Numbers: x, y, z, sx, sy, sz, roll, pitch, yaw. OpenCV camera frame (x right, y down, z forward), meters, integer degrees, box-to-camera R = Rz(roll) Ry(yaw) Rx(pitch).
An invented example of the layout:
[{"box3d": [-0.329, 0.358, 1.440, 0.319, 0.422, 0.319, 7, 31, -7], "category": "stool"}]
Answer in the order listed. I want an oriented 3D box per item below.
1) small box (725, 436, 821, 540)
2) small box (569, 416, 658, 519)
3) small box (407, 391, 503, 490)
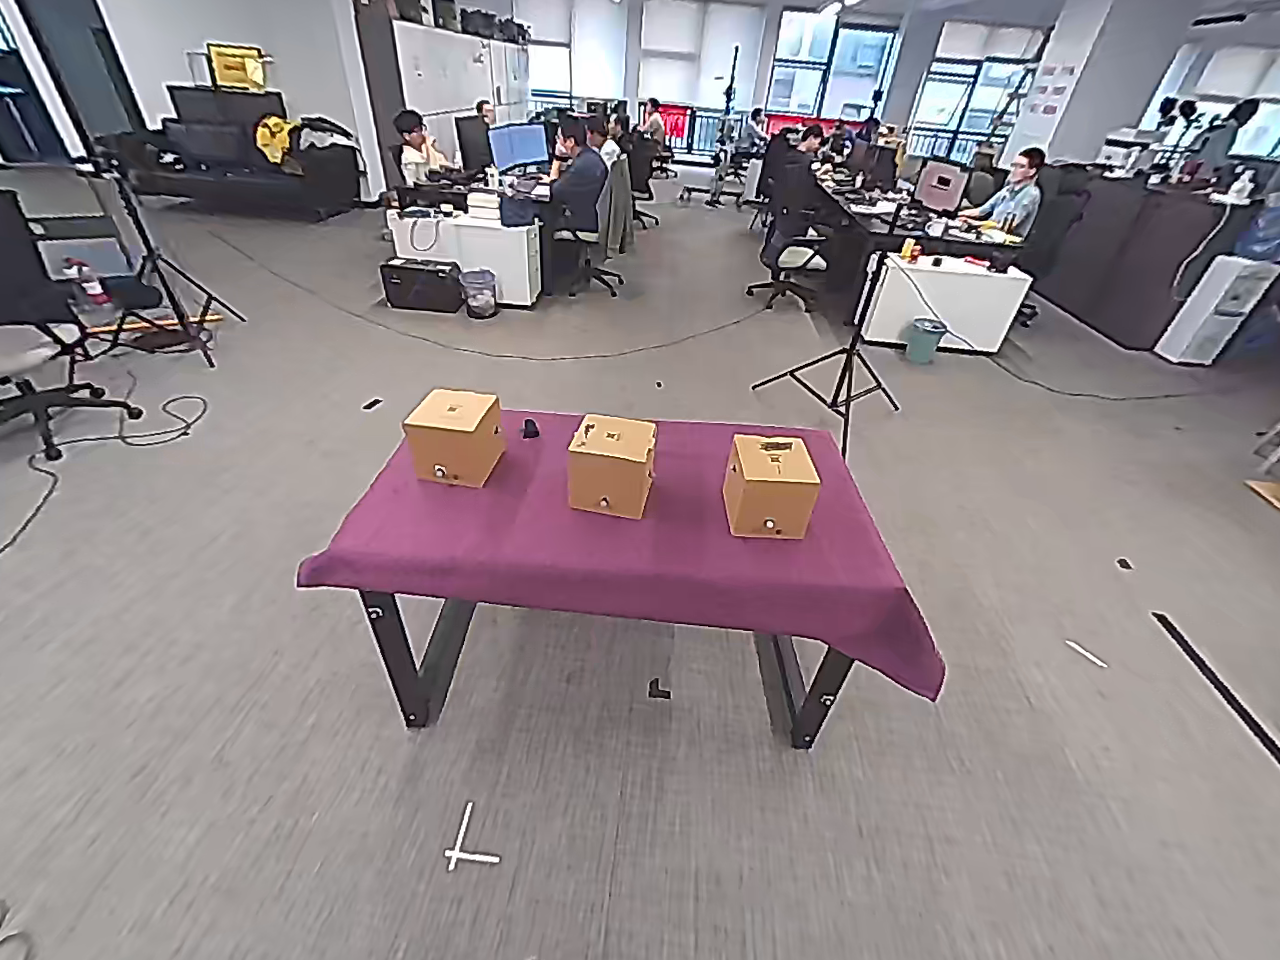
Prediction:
[{"box3d": [0.297, 0.018, 1.256, 0.168, 0.176, 0.179, 2, 37, -2], "category": "small box"}, {"box3d": [-0.063, -0.029, 1.281, 0.179, 0.176, 0.168, 10, 37, 6], "category": "small box"}, {"box3d": [-0.445, -0.099, 1.332, 0.168, 0.176, 0.179, 6, 37, 4], "category": "small box"}]
